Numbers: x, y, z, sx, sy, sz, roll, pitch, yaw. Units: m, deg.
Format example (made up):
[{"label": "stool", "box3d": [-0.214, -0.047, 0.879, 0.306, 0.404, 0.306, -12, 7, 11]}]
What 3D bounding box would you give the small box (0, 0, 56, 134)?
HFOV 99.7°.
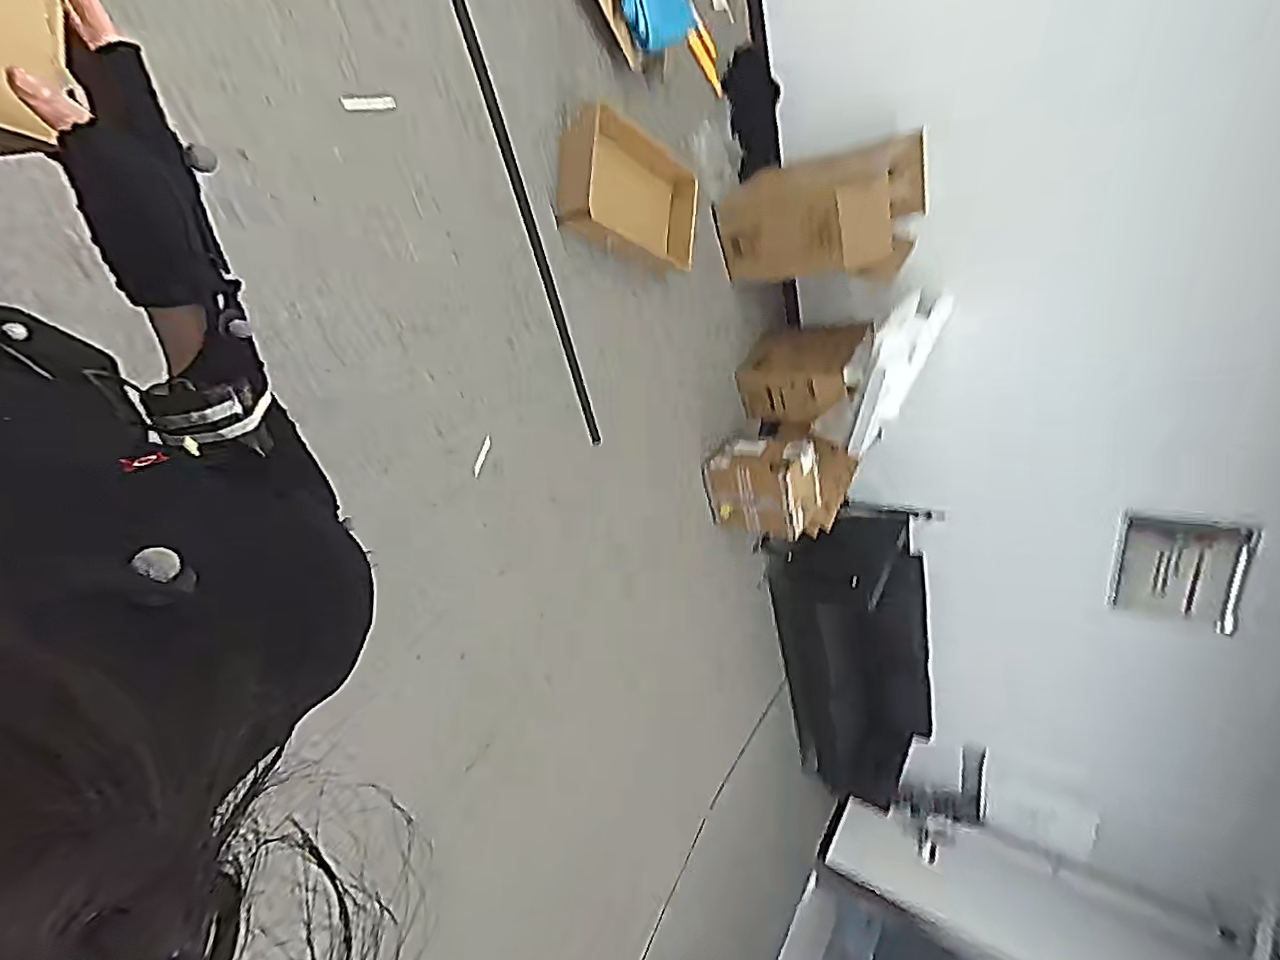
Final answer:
[{"label": "small box", "box3d": [-0.411, -0.284, 0.239, 0.168, 0.176, 0.179, -12, 113, -63]}]
